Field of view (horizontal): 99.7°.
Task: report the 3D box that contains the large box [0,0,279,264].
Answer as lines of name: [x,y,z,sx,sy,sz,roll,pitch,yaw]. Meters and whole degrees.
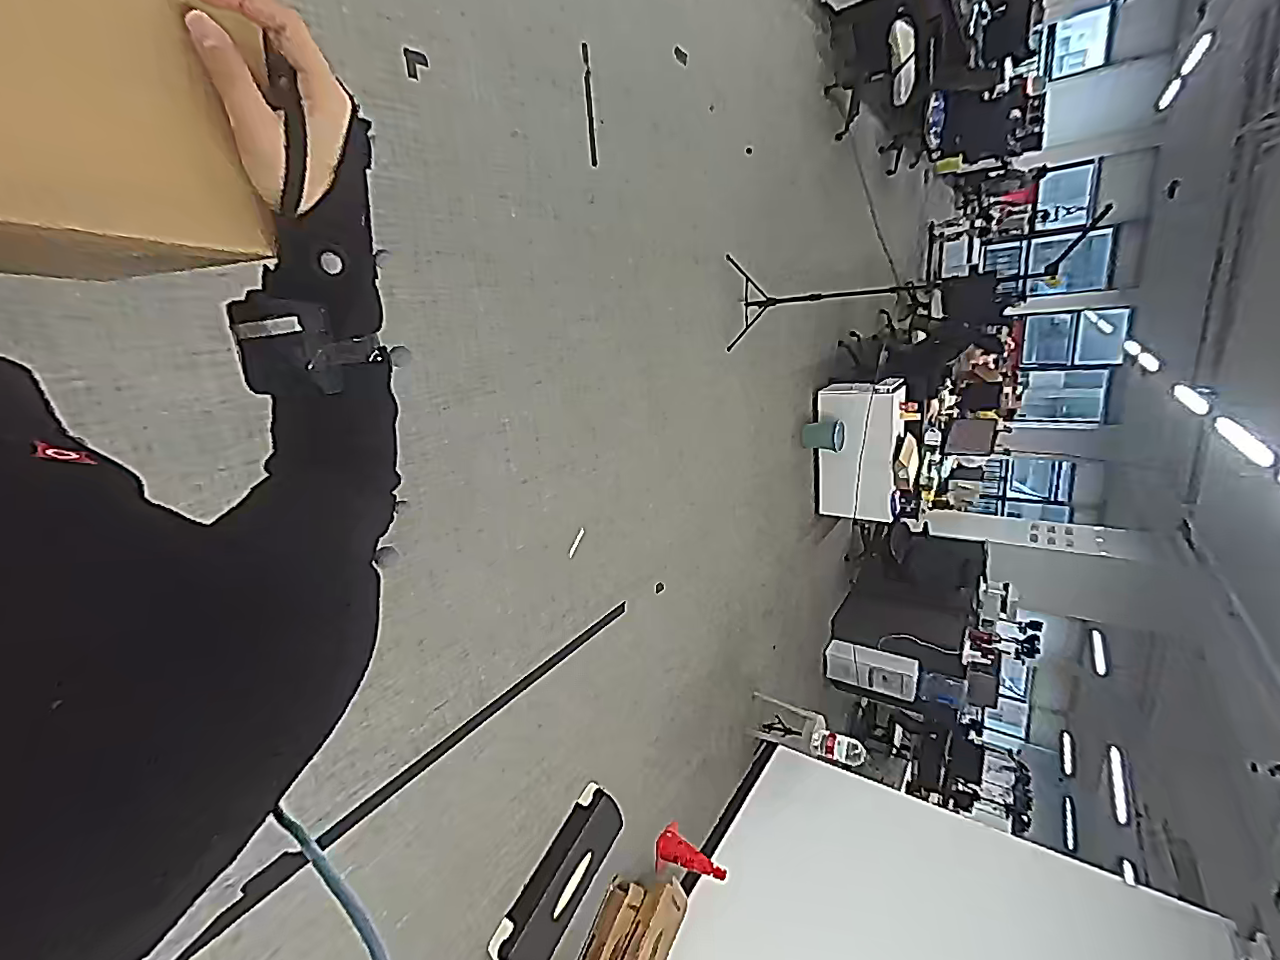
large box: [-0.454,-0.277,0.212,0.408,0.320,0.320,-21,117,-57]
